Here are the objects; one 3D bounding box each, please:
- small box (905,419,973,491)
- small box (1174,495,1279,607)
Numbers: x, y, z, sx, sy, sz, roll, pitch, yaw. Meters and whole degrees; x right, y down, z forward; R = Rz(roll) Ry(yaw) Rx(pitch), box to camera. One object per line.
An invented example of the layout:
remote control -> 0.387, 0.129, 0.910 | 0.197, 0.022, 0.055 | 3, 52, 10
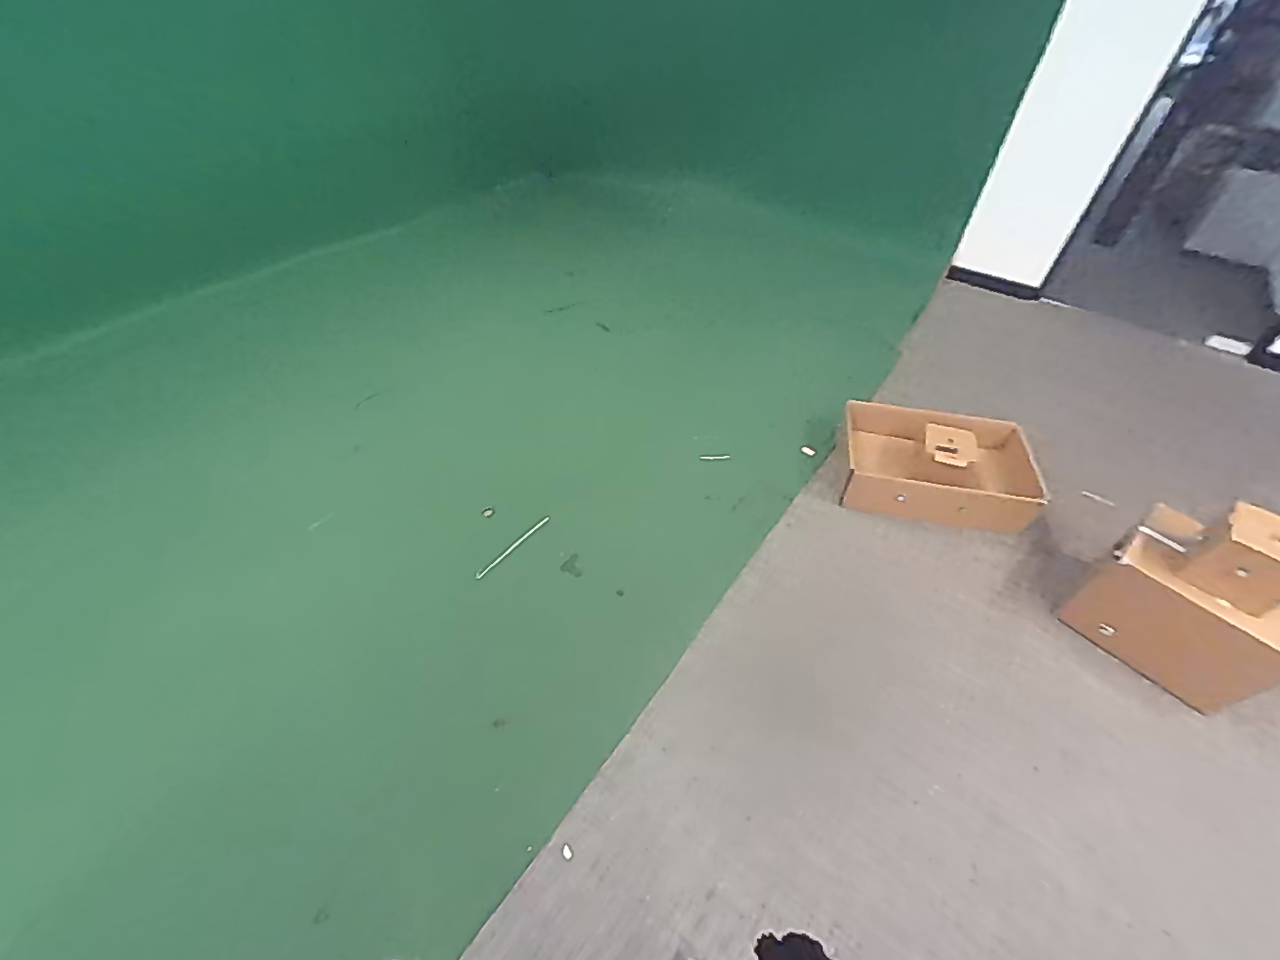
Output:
small box -> 1.059, -0.085, 1.921 | 0.168, 0.176, 0.179 | 15, 47, 14
small box -> 1.477, 0.177, 1.326 | 0.179, 0.176, 0.168 | 35, 56, 28
